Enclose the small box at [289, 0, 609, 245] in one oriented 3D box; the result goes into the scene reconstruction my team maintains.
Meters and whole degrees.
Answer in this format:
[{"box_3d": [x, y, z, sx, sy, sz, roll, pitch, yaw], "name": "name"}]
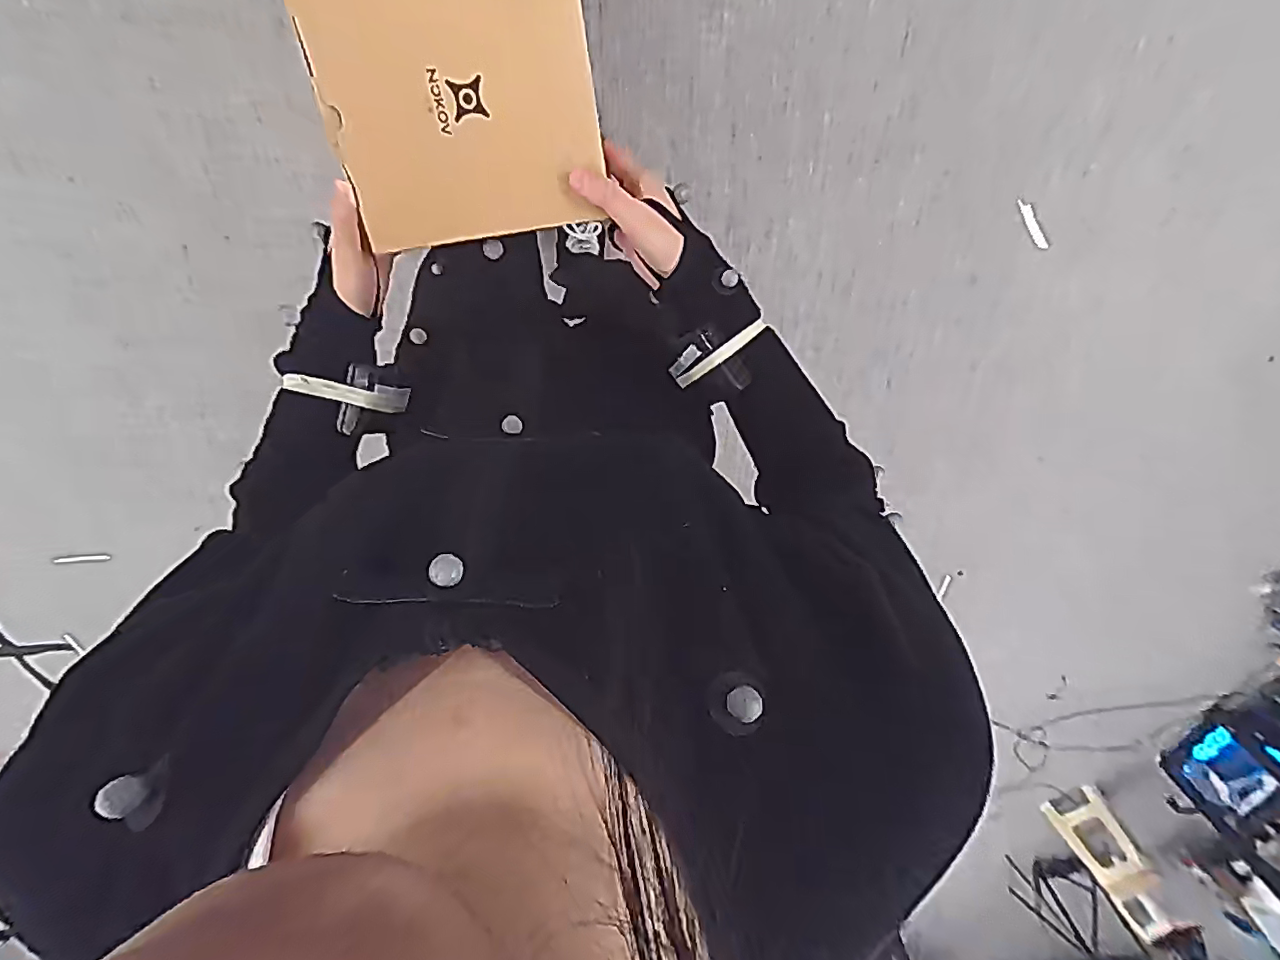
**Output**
[{"box_3d": [-0.125, -0.289, 0.420, 0.179, 0.176, 0.168, -9, 119, -1], "name": "small box"}]
